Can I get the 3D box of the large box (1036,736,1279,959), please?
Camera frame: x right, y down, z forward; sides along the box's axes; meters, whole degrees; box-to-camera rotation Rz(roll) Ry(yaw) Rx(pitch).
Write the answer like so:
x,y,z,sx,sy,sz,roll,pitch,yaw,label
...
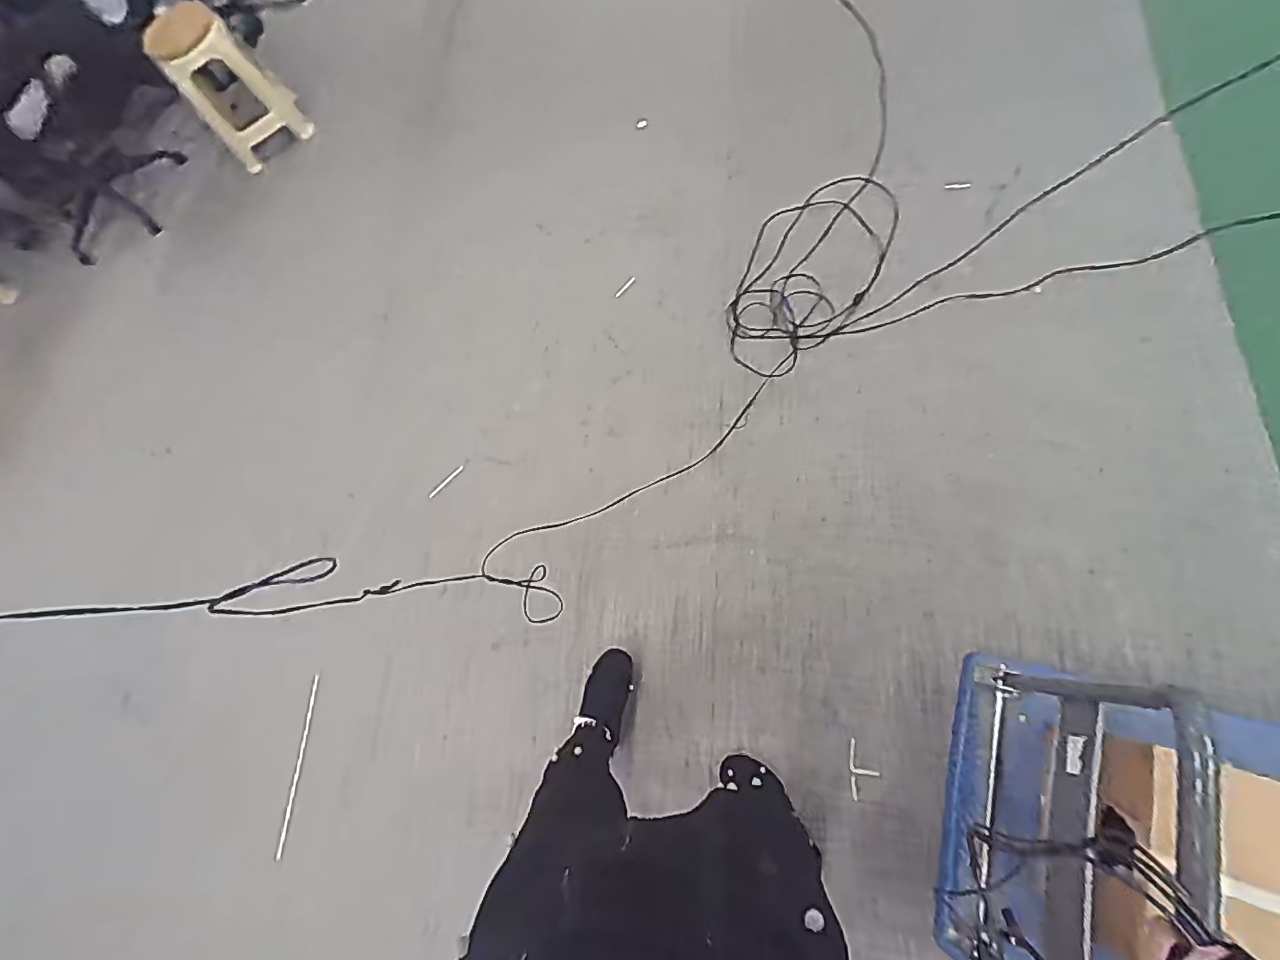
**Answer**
x,y,z,sx,sy,sz,roll,pitch,yaw,label
0.928,0.640,0.852,0.408,0.320,0.320,14,75,15,large box
